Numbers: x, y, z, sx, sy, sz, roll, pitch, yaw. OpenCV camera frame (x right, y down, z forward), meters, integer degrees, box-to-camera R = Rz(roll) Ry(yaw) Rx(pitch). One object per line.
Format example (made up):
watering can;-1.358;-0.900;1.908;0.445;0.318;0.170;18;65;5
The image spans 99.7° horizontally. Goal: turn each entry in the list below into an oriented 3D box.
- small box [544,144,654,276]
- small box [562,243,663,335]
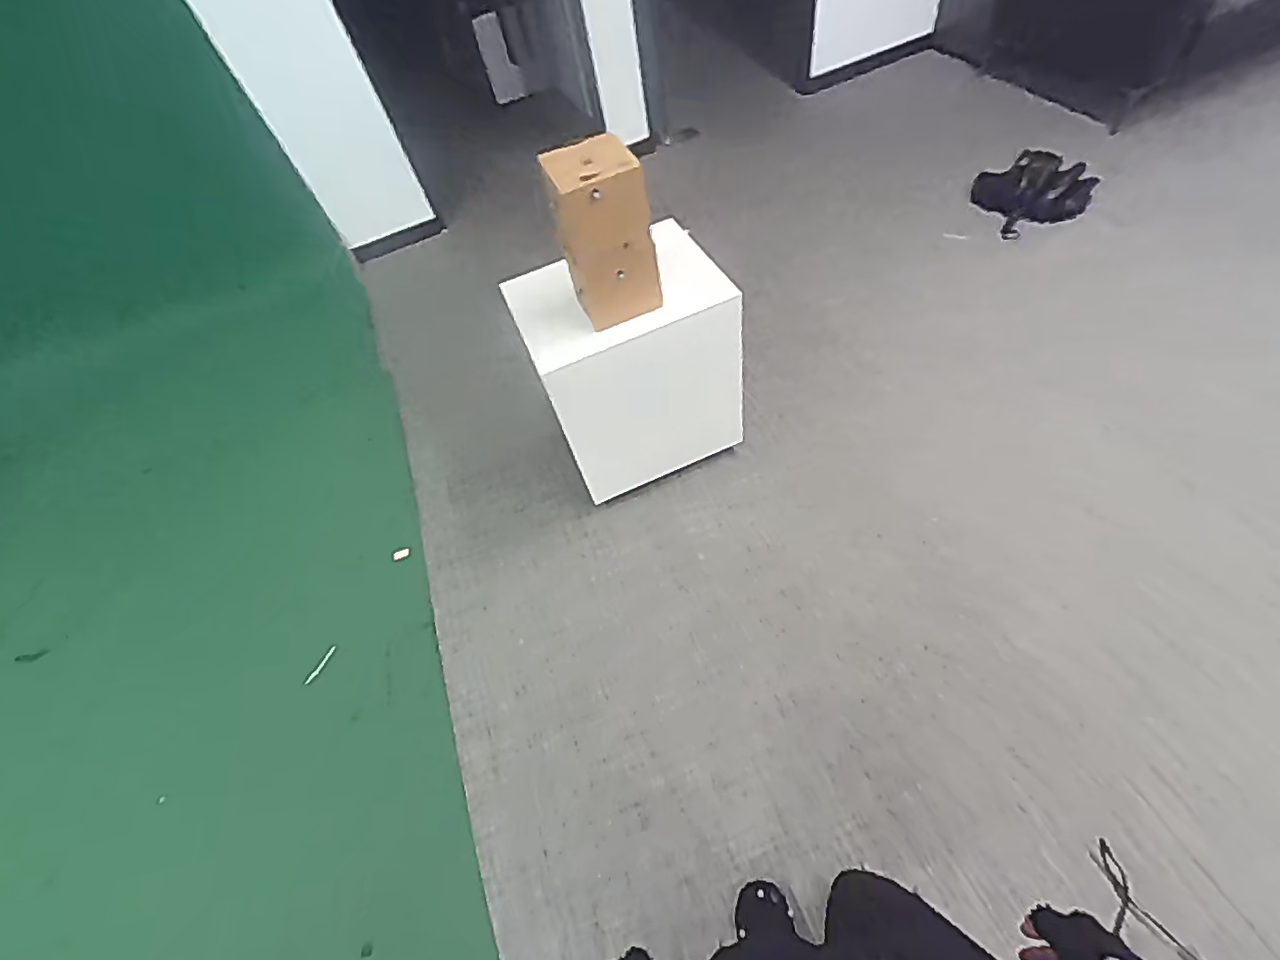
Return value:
small box;-0.083;-0.564;1.137;0.168;0.176;0.179;-24;55;-7
small box;-0.059;-0.470;1.265;0.179;0.176;0.168;-23;55;-7
